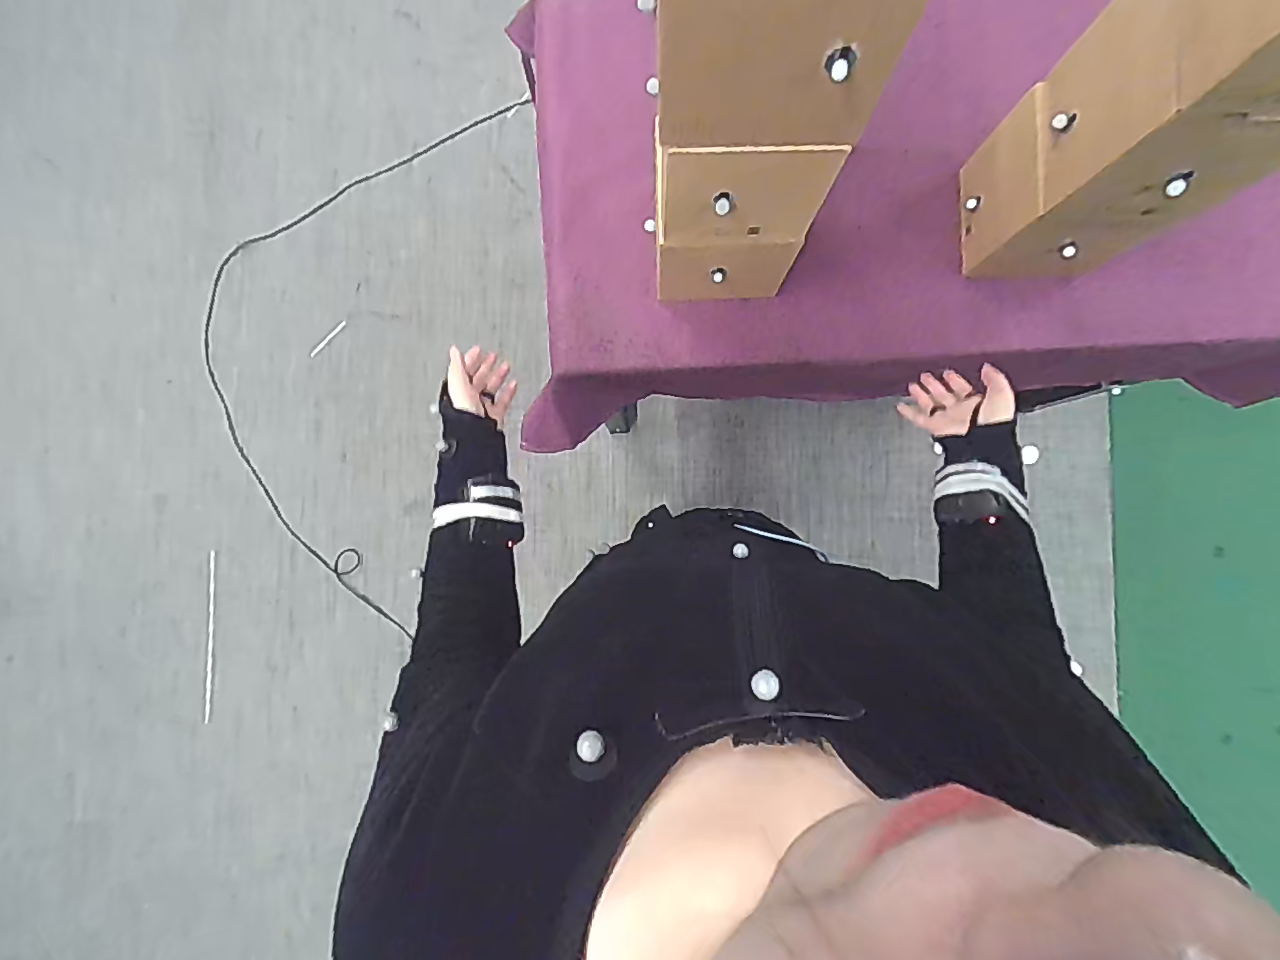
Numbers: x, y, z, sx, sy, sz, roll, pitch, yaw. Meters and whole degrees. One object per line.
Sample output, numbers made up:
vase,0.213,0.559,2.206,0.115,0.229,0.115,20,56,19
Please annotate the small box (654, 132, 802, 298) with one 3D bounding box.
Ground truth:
small box,0.108,-0.357,0.730,0.179,0.176,0.168,-1,86,2

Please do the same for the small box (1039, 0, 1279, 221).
small box,0.550,-0.390,0.555,0.168,0.176,0.179,4,87,2

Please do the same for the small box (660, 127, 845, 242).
small box,0.106,-0.369,0.568,0.168,0.176,0.179,0,85,2

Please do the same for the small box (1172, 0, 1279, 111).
small box,0.542,-0.400,0.390,0.168,0.176,0.179,2,86,2

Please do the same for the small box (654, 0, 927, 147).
small box,0.100,-0.381,0.405,0.179,0.176,0.168,1,84,2
